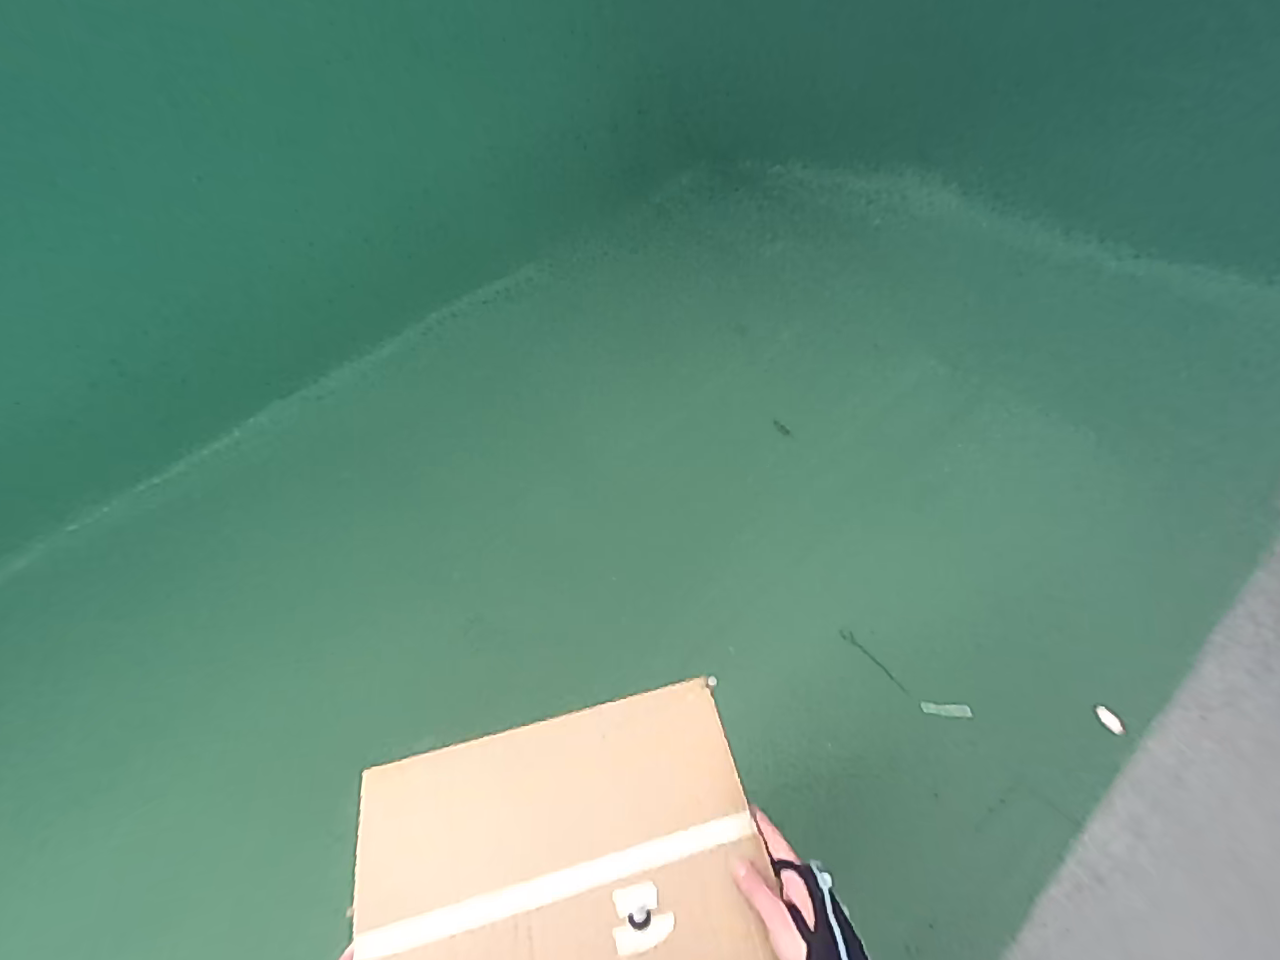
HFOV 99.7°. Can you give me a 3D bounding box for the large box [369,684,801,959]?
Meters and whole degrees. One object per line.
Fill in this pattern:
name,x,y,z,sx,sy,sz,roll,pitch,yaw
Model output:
large box,-0.069,0.502,0.666,0.408,0.320,0.320,-11,52,-9
